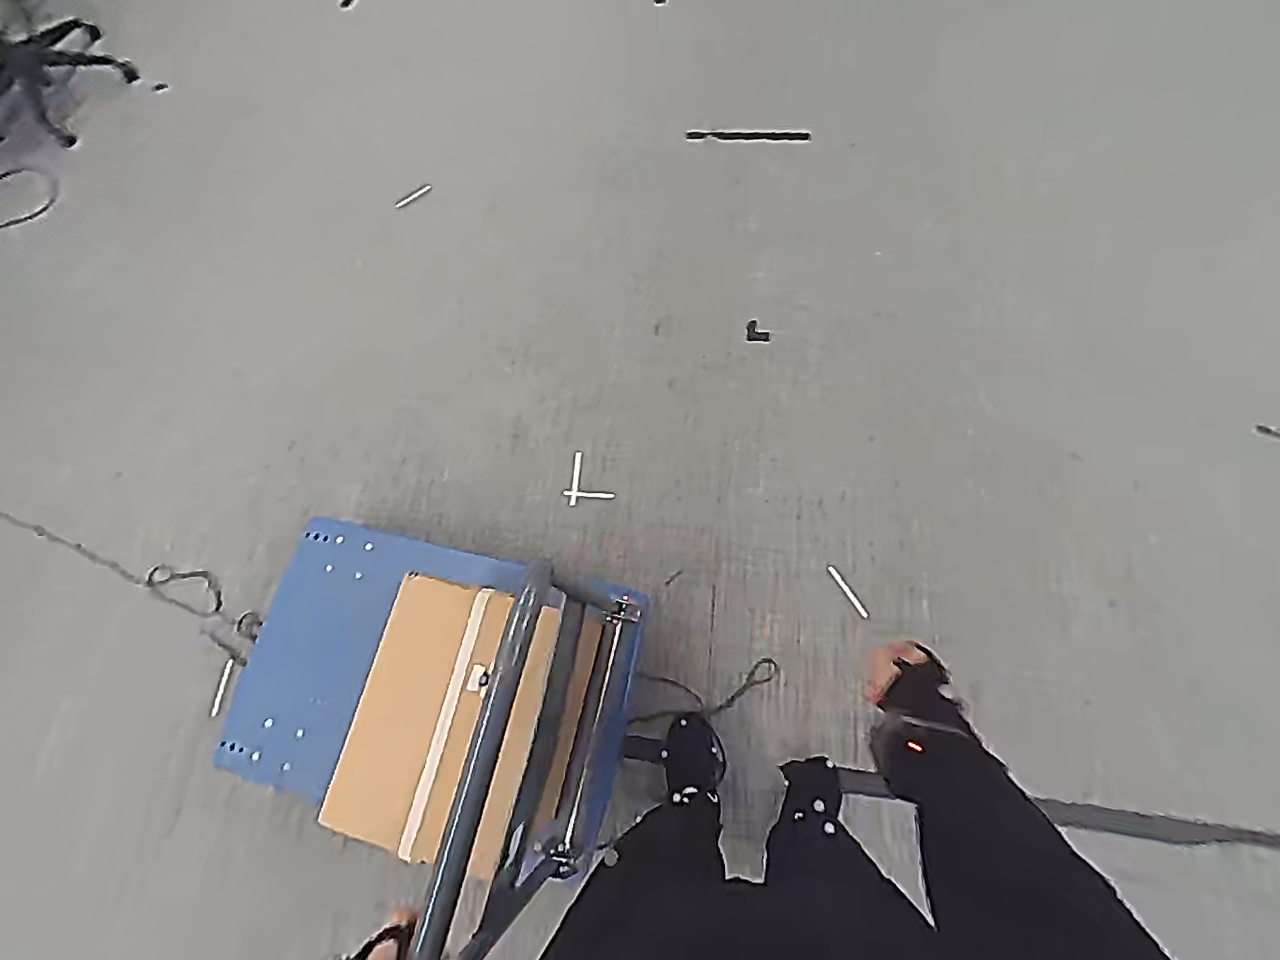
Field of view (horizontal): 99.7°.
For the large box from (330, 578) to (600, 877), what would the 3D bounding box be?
[{"bbox_3d":[-0.290,0.433,1.025,0.320,0.320,0.408,11,73,9],"label":"large box"}]
